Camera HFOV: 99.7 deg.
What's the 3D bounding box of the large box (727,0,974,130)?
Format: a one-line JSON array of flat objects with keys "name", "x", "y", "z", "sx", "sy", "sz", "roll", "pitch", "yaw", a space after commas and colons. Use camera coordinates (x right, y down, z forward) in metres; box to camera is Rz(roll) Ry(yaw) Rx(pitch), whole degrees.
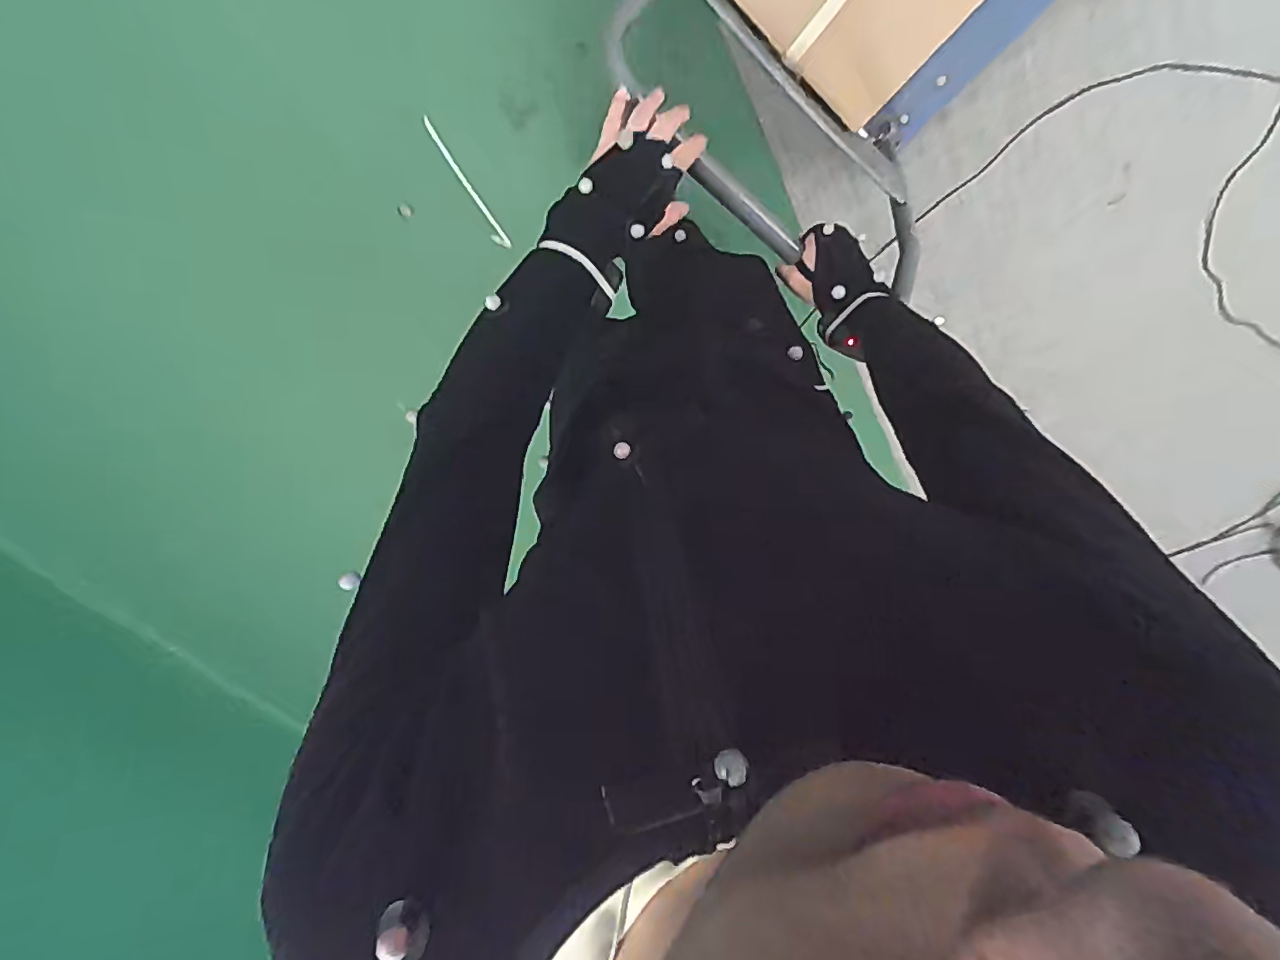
[{"name": "large box", "x": 0.364, "y": -0.839, "z": 0.804, "sx": 0.320, "sy": 0.320, "sz": 0.408, "roll": 34, "pitch": 132, "yaw": -19}]
